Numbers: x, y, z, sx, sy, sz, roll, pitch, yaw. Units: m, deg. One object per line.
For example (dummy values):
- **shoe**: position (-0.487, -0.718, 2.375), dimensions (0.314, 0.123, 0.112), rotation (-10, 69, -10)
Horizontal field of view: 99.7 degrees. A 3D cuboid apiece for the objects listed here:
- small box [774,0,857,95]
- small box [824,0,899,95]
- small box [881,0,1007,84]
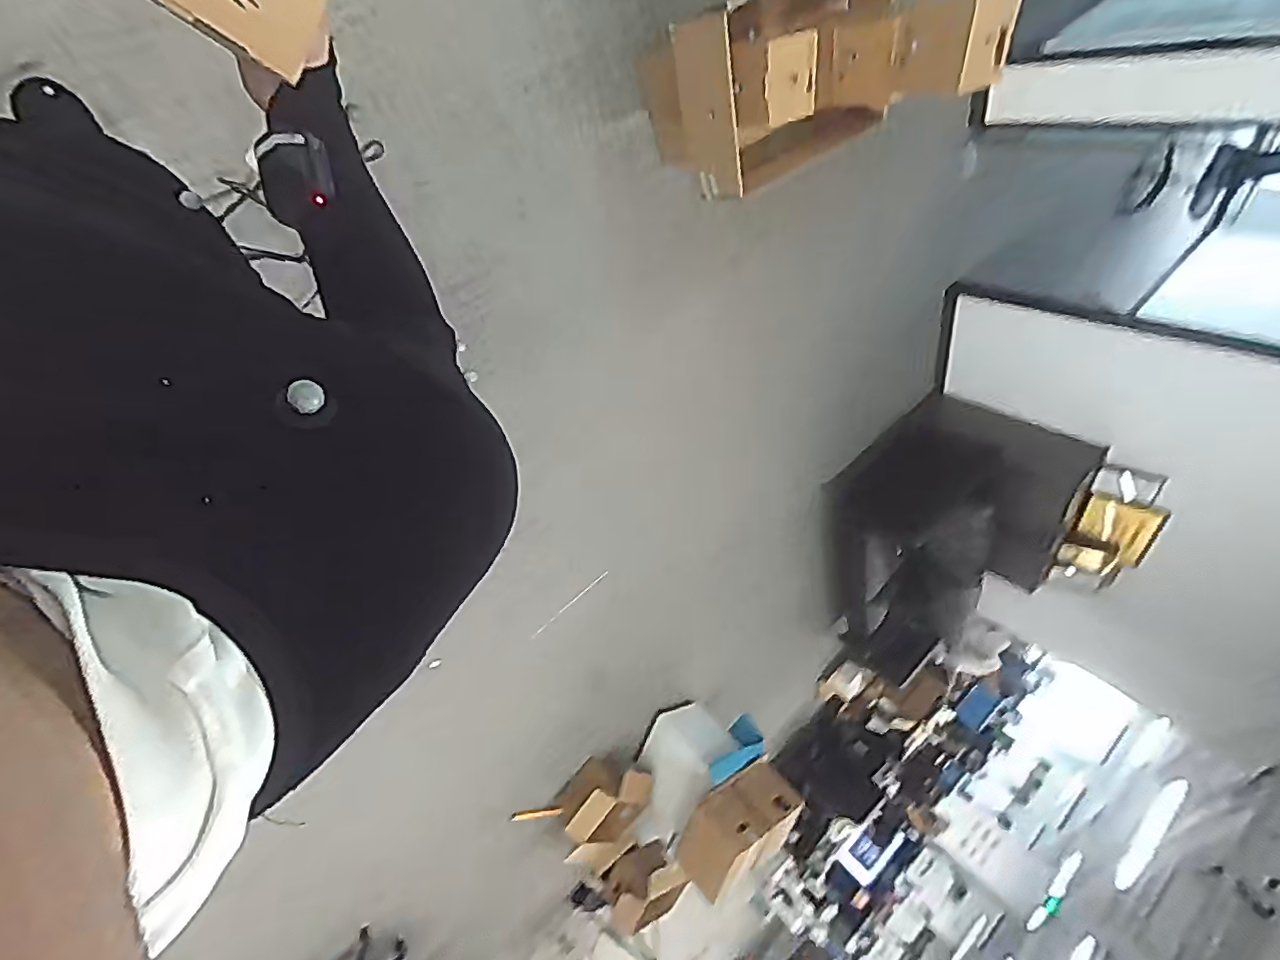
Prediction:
- **small box**: position (0.474, -1.133, 1.415), dimensions (0.179, 0.176, 0.168), rotation (-37, 136, -18)
- **small box**: position (0.570, -1.059, 1.307), dimensions (0.179, 0.176, 0.168), rotation (-37, 137, -17)
- **small box**: position (0.671, -0.990, 1.197), dimensions (0.179, 0.176, 0.168), rotation (-29, 133, -23)
